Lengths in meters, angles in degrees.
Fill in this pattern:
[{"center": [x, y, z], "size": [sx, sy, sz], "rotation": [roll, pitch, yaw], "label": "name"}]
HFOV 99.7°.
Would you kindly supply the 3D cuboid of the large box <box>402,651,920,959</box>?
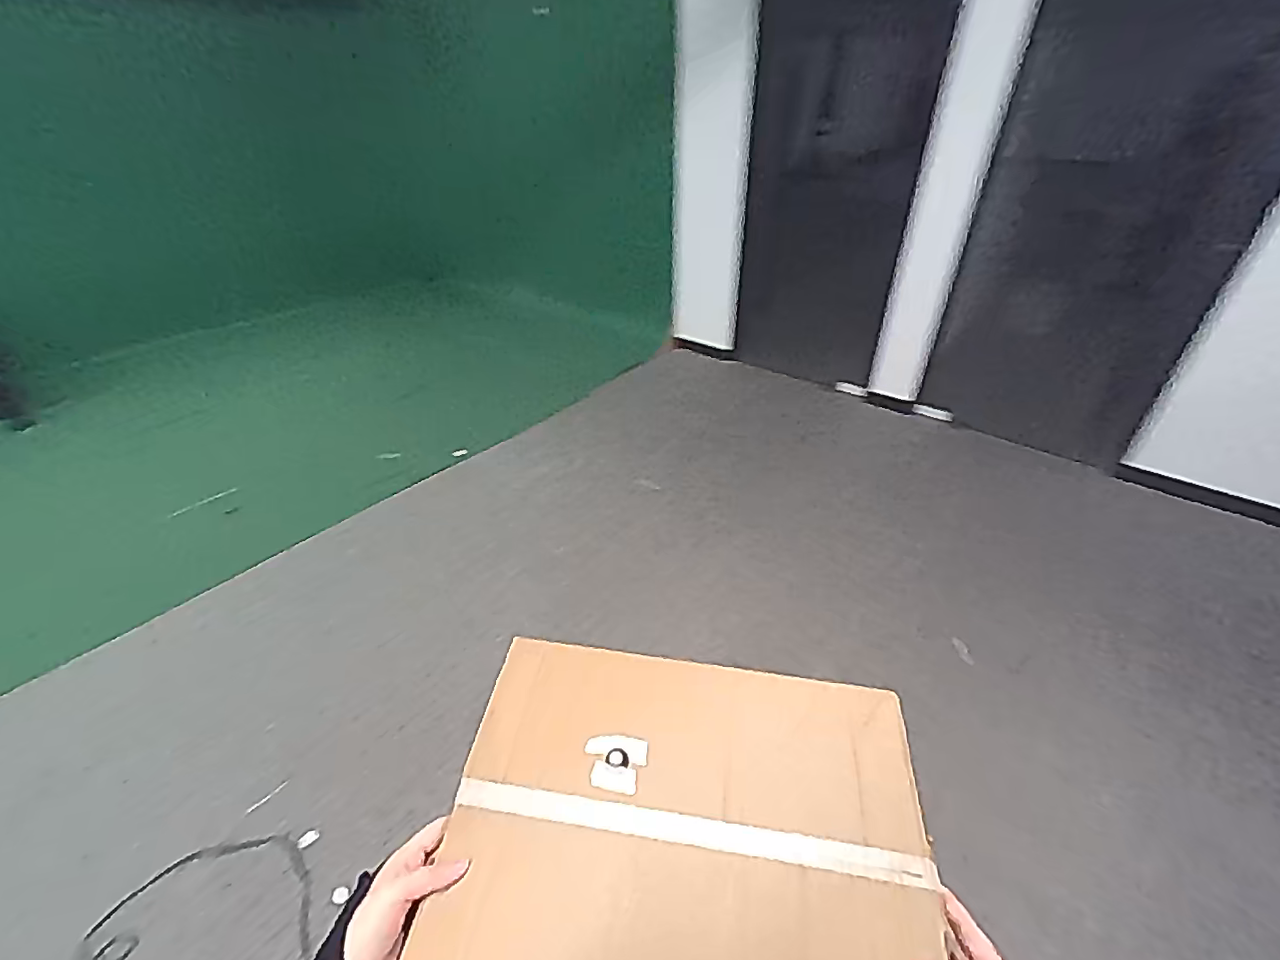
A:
[{"center": [0.031, 0.412, 0.579], "size": [0.408, 0.320, 0.320], "rotation": [4, 45, 7], "label": "large box"}]
